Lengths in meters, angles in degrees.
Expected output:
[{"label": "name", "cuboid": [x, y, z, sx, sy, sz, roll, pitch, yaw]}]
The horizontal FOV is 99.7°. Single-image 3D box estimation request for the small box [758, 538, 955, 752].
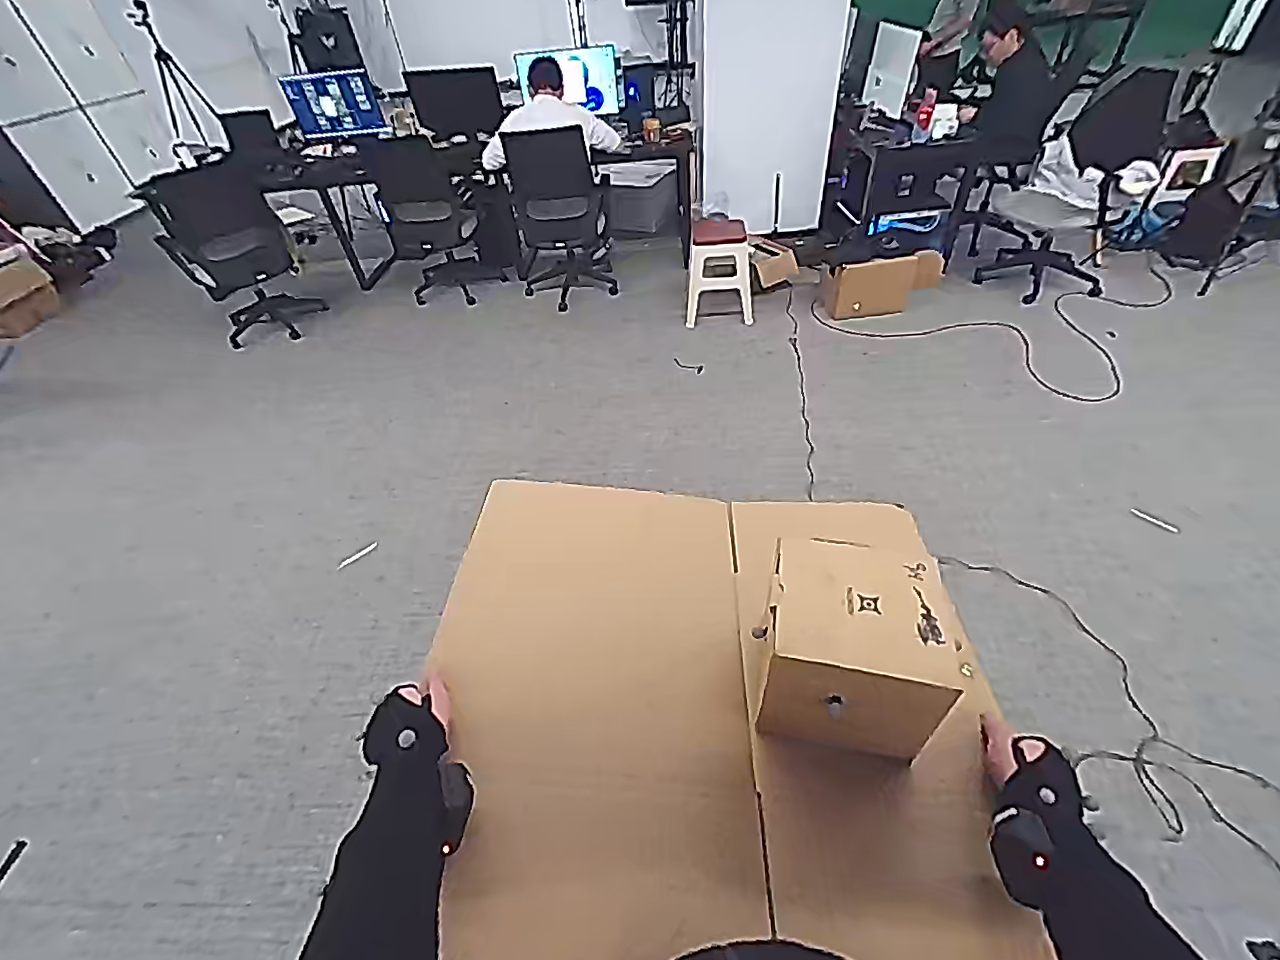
[{"label": "small box", "cuboid": [0.236, 0.192, 0.633, 0.179, 0.176, 0.168, 7, 43, 12]}]
